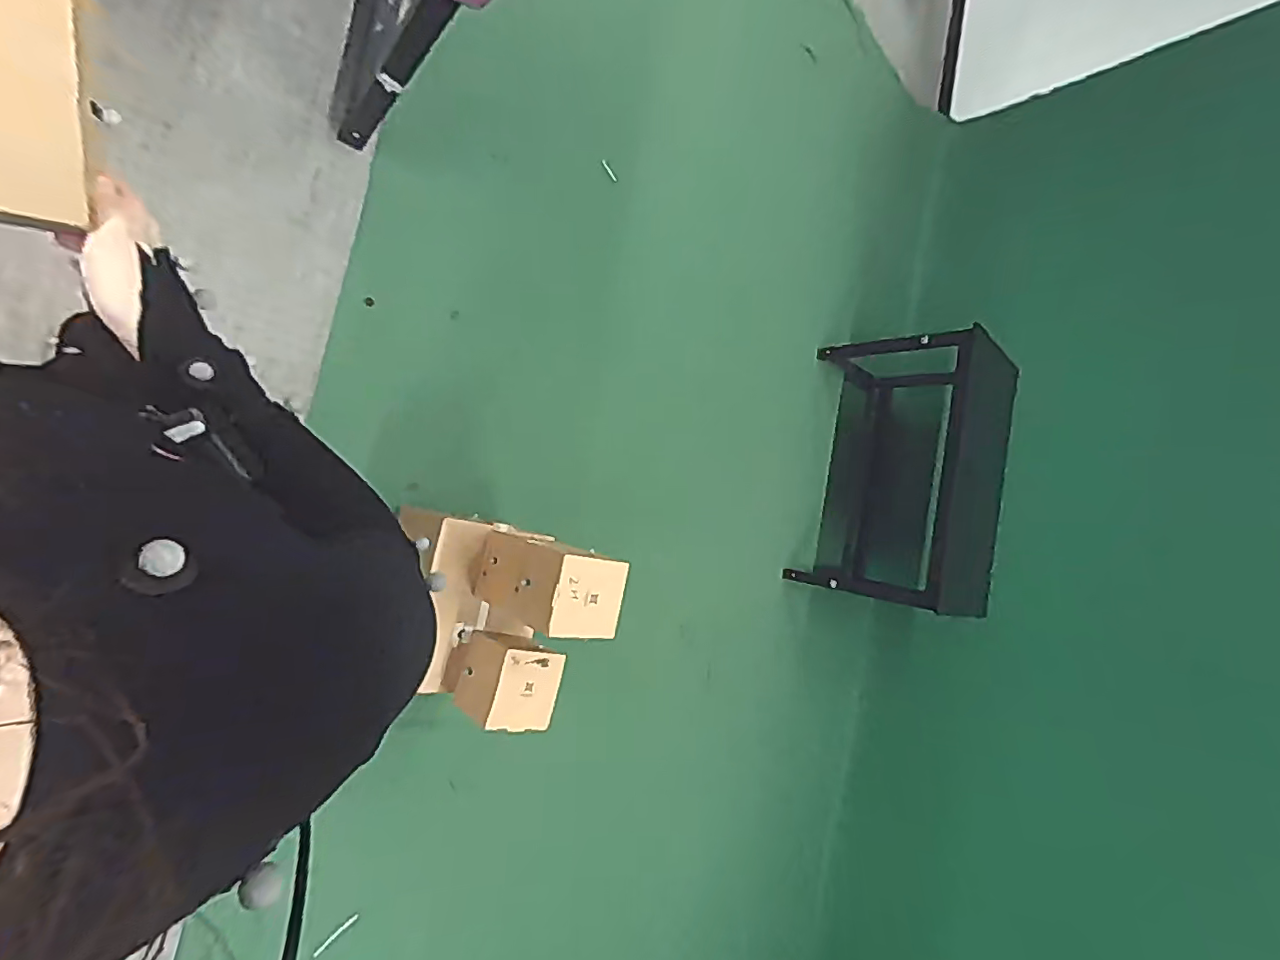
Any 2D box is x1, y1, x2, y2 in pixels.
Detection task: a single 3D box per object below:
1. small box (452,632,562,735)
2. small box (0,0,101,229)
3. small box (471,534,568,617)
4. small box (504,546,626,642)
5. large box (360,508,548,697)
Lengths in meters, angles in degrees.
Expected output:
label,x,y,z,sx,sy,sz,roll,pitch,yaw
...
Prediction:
label,x,y,z,sx,sy,sz,roll,pitch,yaw
small box,-0.315,0.471,1.258,0.168,0.176,0.179,24,77,-42
small box,-0.431,-0.259,0.307,0.168,0.176,0.179,-2,107,-41
small box,-0.270,0.228,1.283,0.179,0.176,0.168,18,82,-41
small box,-0.162,0.241,1.159,0.179,0.176,0.168,16,83,-41
large box,-0.489,0.306,1.418,0.320,0.320,0.408,17,83,-41
